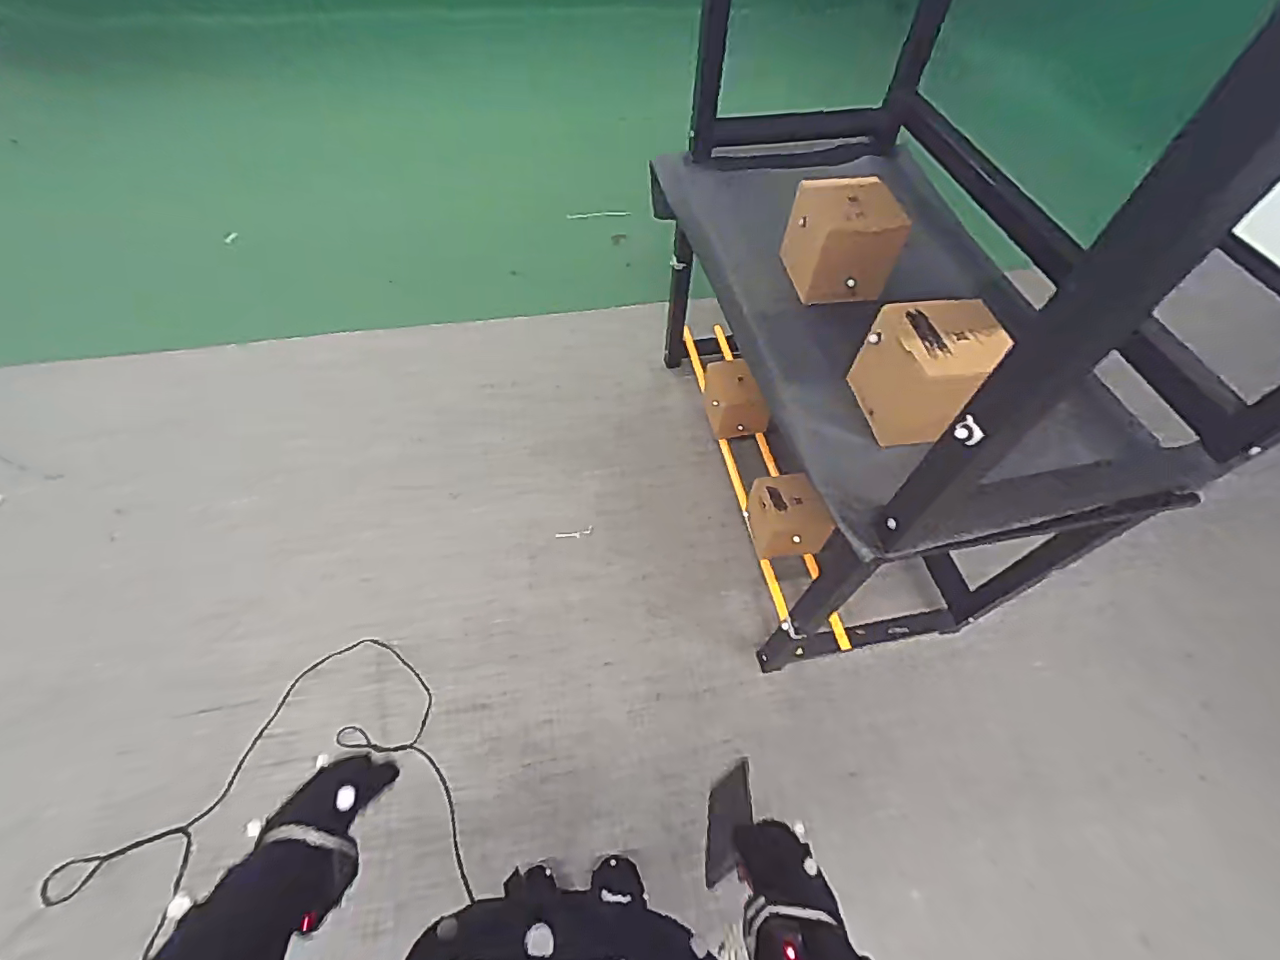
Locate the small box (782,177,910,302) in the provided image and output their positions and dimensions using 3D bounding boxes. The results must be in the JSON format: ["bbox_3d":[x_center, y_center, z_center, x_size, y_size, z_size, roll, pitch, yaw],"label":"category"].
[{"bbox_3d":[0.407,-0.490,1.106,0.168,0.176,0.179,-6,57,-6],"label":"small box"}]

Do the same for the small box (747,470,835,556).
[{"bbox_3d":[0.397,0.094,1.468,0.179,0.176,0.168,-6,58,-6],"label":"small box"}]
